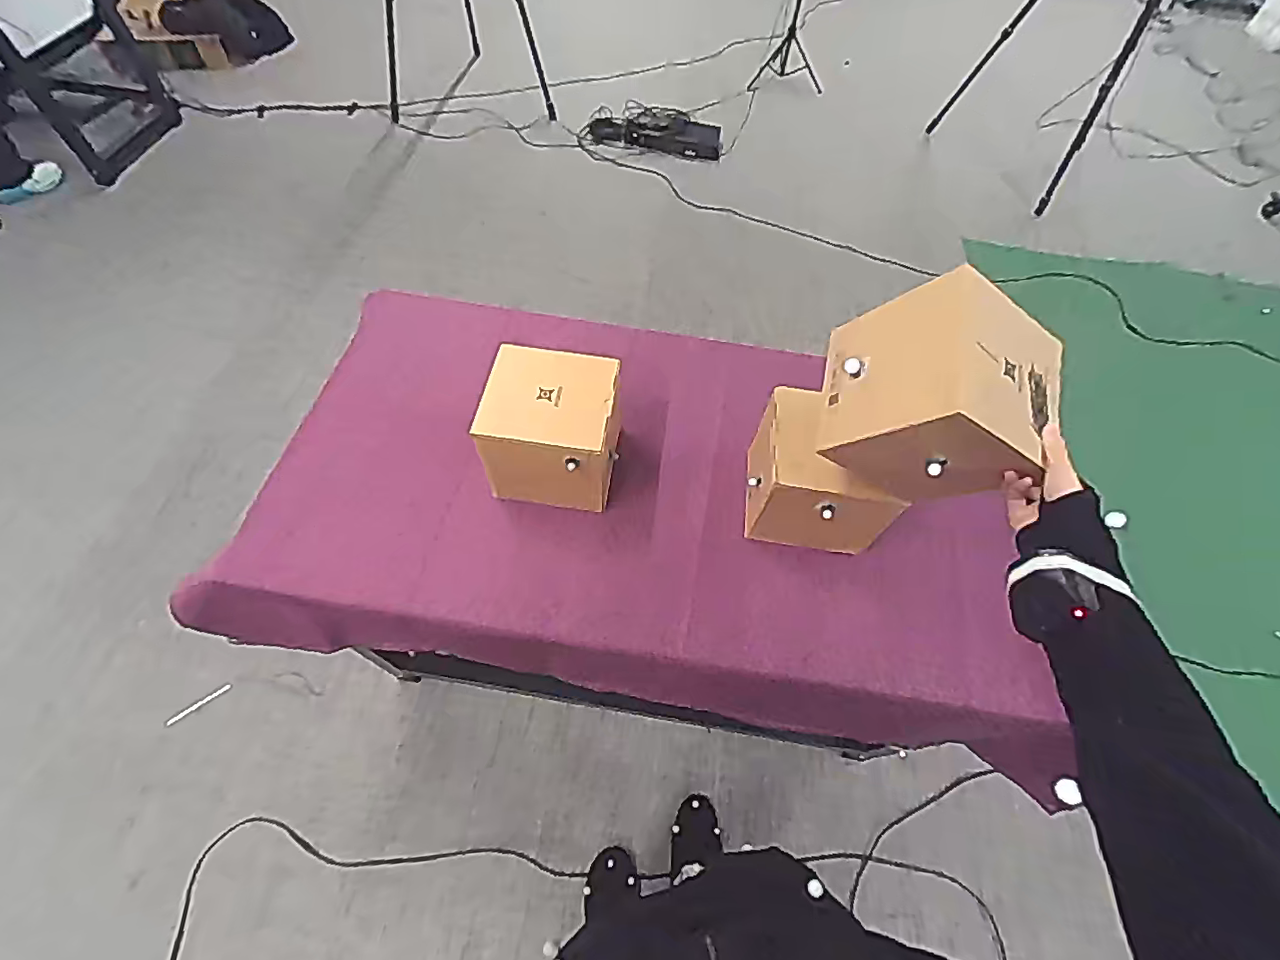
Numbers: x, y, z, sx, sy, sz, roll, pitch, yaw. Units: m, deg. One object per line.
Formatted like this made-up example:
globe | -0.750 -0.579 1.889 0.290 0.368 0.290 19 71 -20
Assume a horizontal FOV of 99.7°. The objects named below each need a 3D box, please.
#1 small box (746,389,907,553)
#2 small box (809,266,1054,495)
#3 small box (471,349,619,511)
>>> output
small box | 0.258 -0.008 0.791 0.179 0.176 0.168 9 59 1
small box | 0.319 -0.091 0.600 0.179 0.176 0.168 22 69 -23
small box | -0.129 -0.069 0.807 0.179 0.176 0.168 7 58 0
